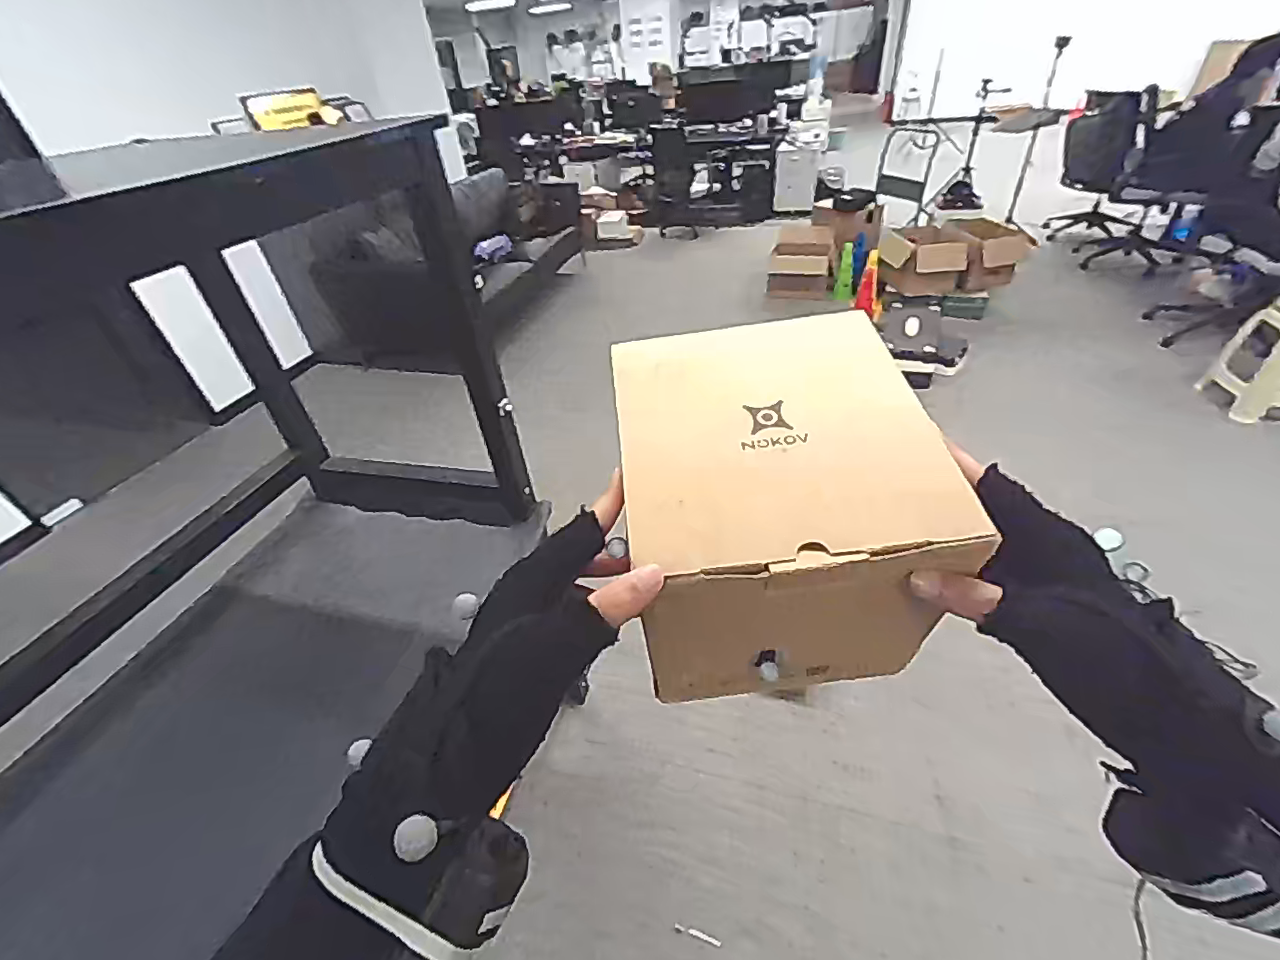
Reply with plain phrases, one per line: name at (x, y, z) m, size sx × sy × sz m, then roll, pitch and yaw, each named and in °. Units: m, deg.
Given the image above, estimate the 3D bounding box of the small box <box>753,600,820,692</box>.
small box at (0.435, 0.496, 1.617) m, size 0.168 × 0.176 × 0.179 m, roll 10°, pitch 42°, yaw 21°
